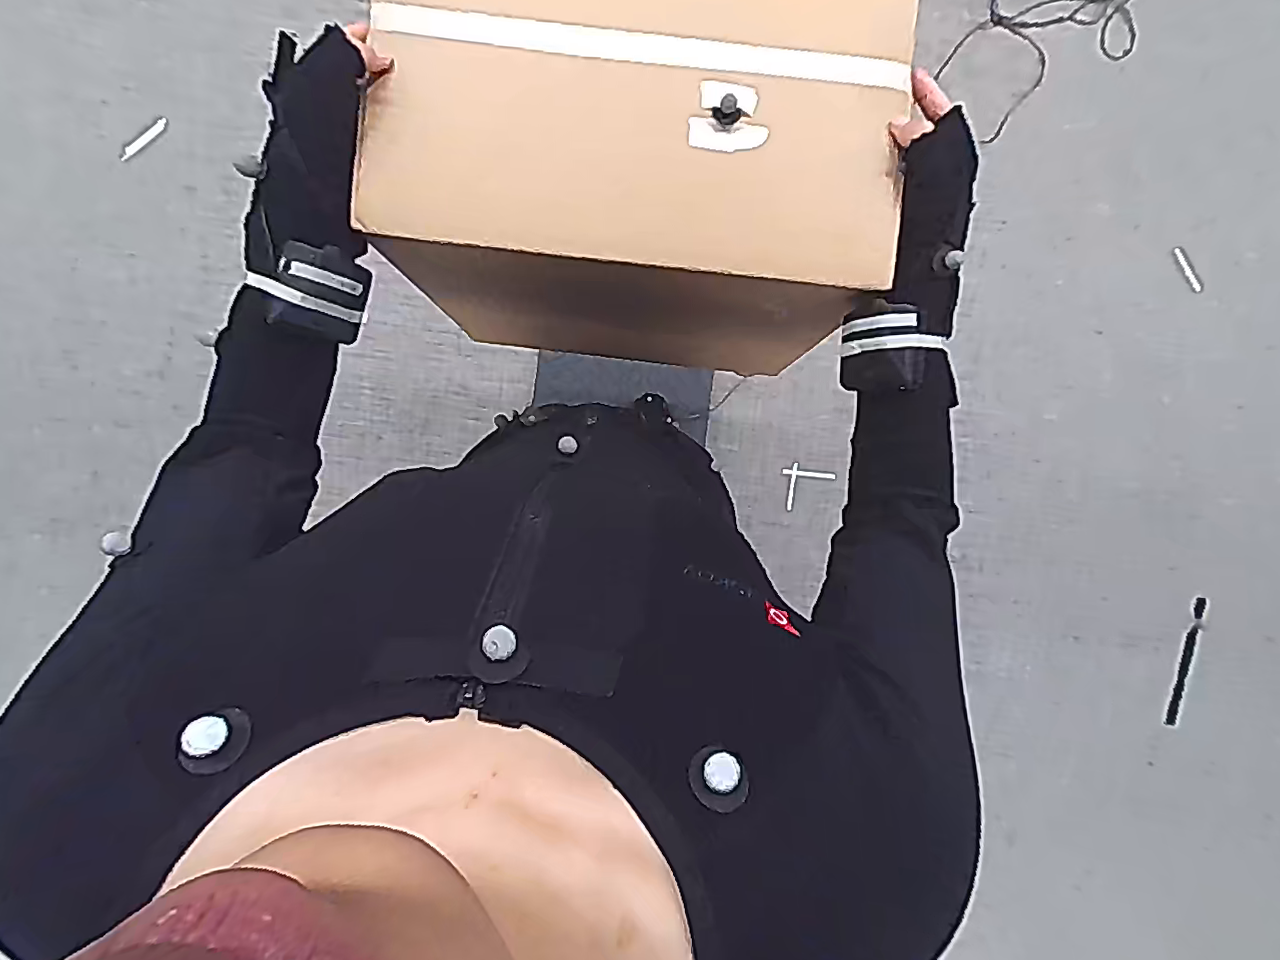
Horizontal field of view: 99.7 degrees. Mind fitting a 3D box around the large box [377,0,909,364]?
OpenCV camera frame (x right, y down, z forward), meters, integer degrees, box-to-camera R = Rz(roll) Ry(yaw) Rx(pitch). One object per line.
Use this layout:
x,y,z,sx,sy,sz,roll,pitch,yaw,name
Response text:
0.002,-0.324,0.568,0.408,0.320,0.320,6,89,-2,large box
